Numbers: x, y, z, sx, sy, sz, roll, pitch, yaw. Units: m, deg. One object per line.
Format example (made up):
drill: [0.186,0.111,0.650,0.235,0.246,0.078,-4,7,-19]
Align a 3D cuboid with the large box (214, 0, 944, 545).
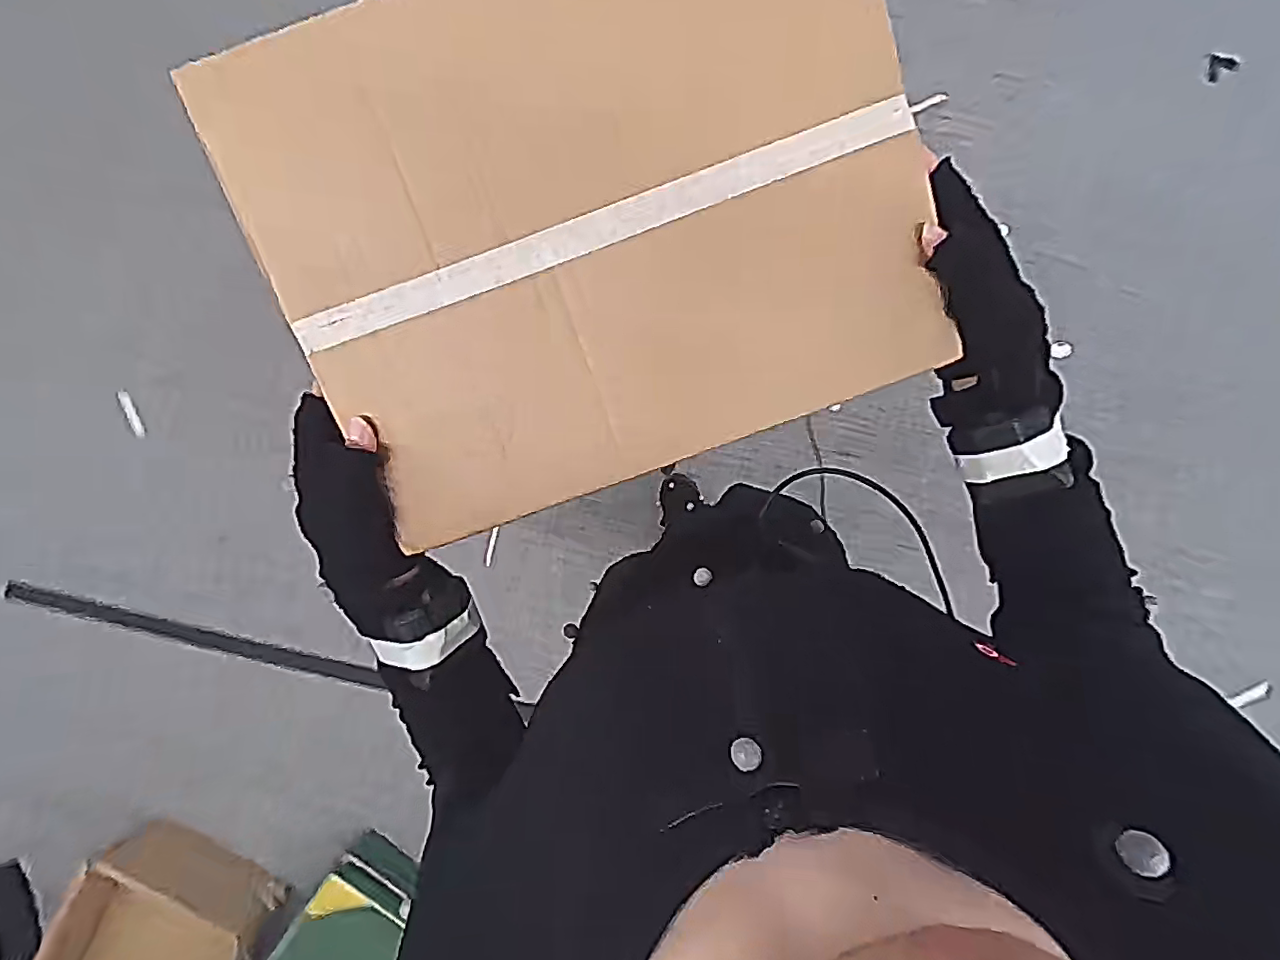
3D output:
large box: [-0.027,-0.191,0.493,0.408,0.320,0.320,-19,102,1]
